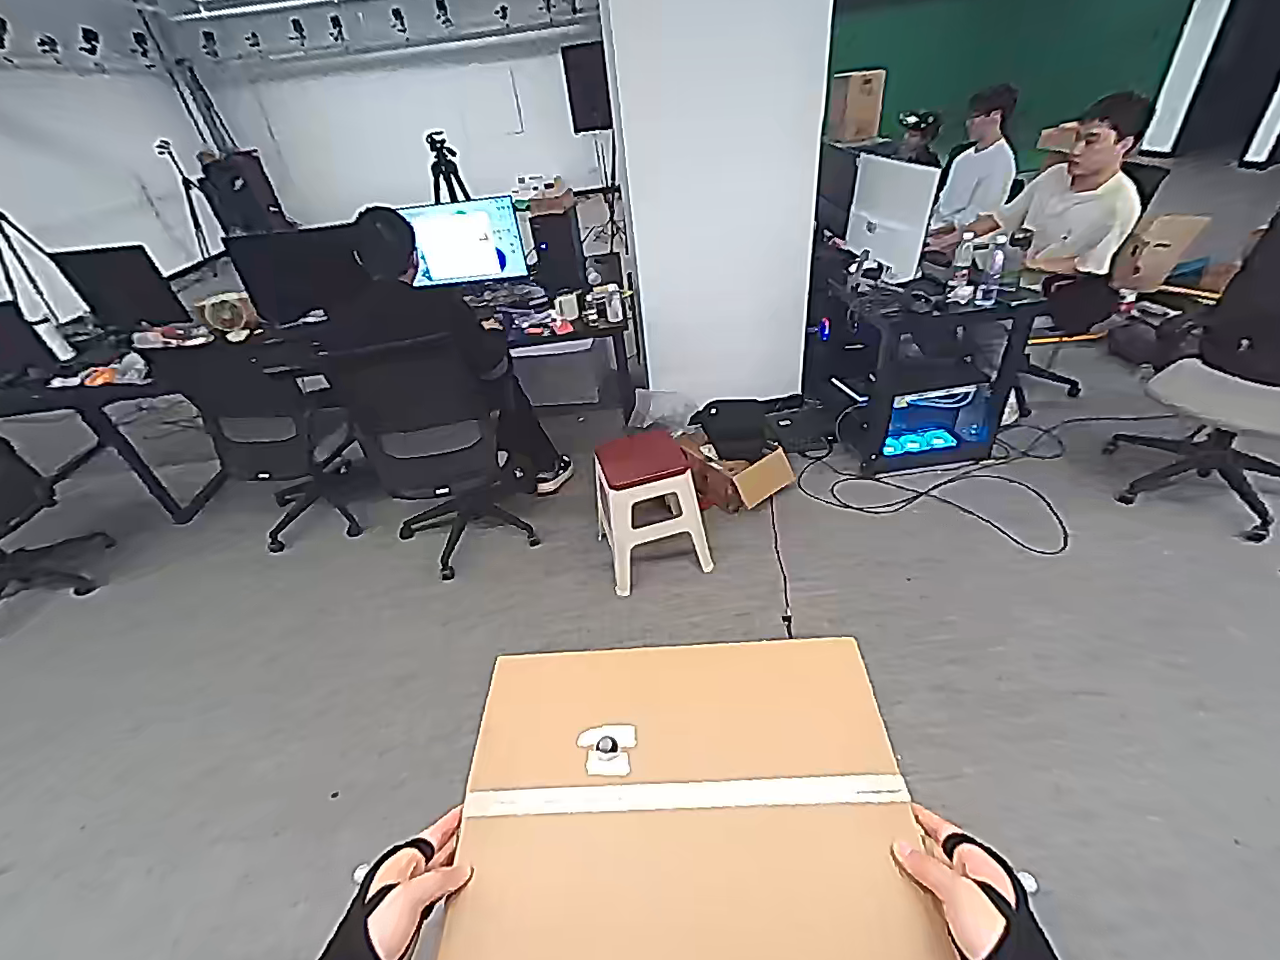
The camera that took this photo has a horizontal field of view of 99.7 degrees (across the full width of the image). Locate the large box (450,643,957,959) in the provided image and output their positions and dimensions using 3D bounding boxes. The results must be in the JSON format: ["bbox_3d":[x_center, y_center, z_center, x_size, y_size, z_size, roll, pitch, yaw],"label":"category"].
[{"bbox_3d":[0.059,0.415,0.602,0.408,0.320,0.320,-6,40,5],"label":"large box"}]
